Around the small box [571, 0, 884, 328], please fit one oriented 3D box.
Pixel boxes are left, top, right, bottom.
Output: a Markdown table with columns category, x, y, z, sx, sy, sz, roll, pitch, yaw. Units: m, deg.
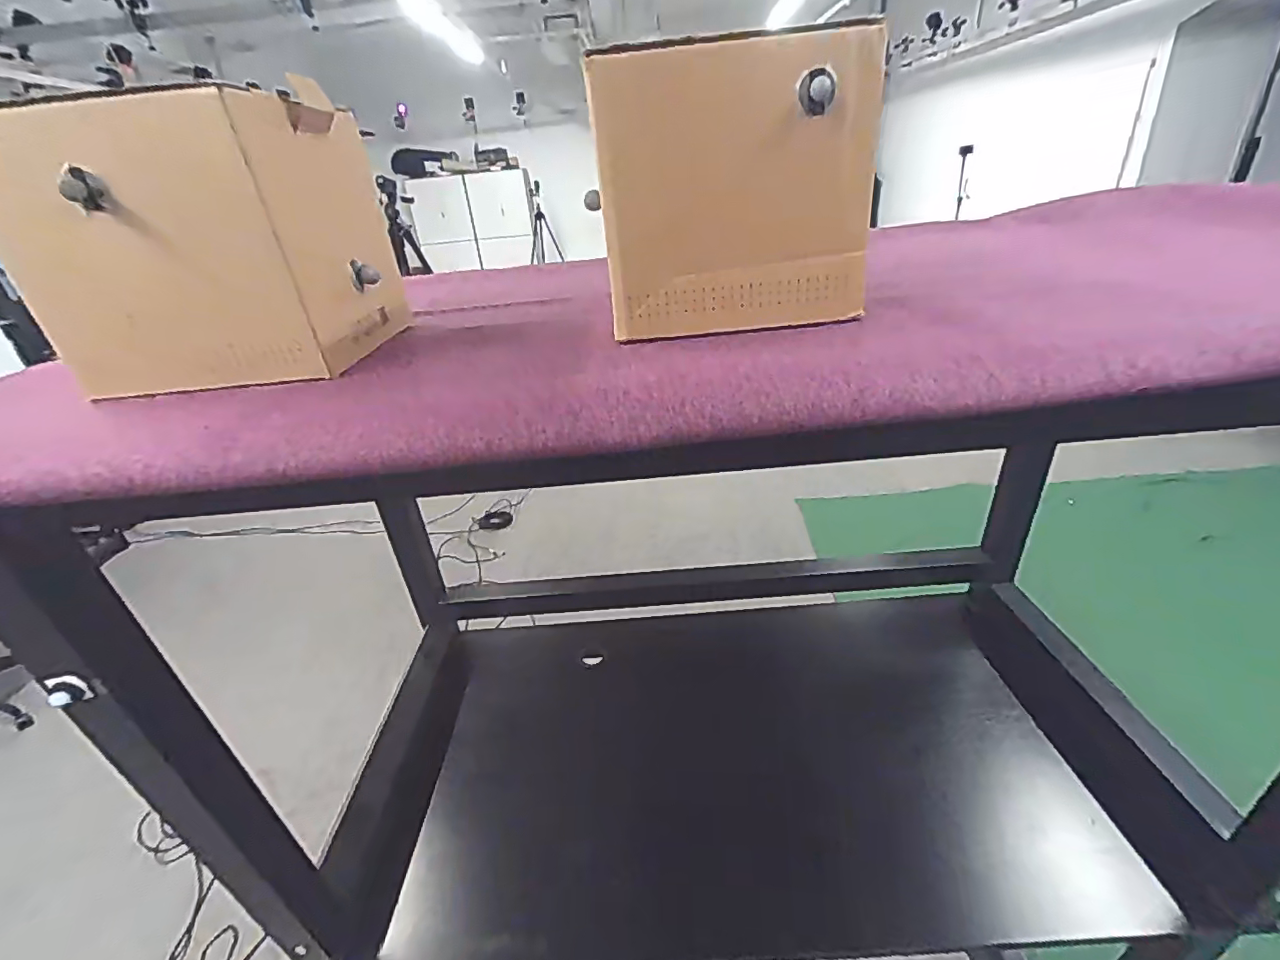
| category | x | y | z | sx | sy | sz | roll | pitch | yaw |
| --- | --- | --- | --- | --- | --- | --- | --- | --- | --- |
| small box | 0.055 | -0.215 | 0.399 | 0.179 | 0.176 | 0.168 | -5 | 28 | 1 |

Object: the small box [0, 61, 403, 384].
| category | x | y | z | sx | sy | sz | roll | pitch | yaw |
| --- | --- | --- | --- | --- | --- | --- | --- | --- | --- |
| small box | -0.306 | -0.176 | 0.391 | 0.179 | 0.176 | 0.168 | -5 | 30 | 1 |
